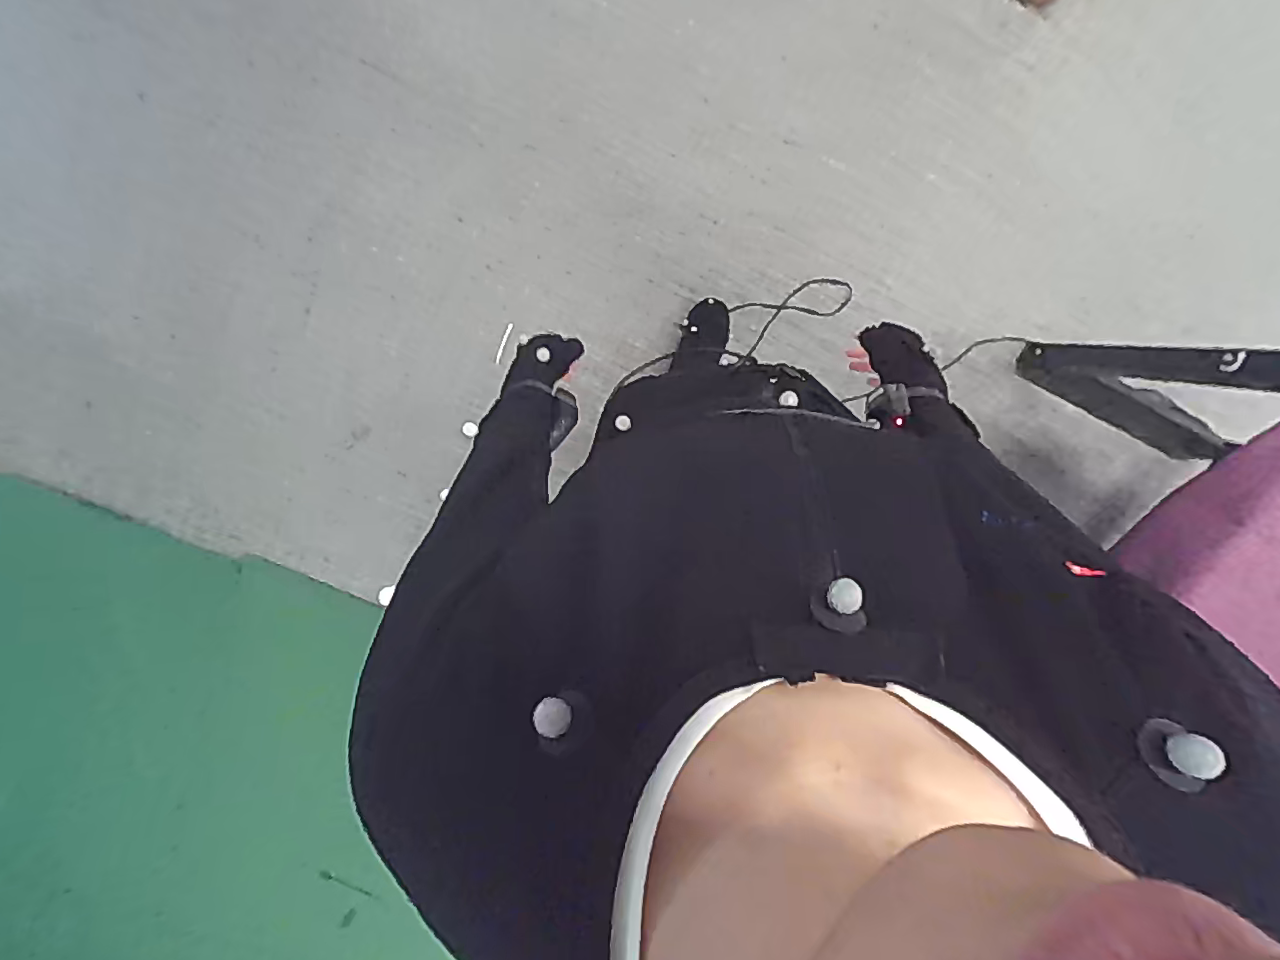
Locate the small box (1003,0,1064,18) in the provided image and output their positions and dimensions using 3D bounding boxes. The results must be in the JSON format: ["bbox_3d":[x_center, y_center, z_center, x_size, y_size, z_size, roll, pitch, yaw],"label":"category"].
[{"bbox_3d":[0.840,-1.097,1.082,0.168,0.176,0.179,24,104,-4],"label":"small box"}]
